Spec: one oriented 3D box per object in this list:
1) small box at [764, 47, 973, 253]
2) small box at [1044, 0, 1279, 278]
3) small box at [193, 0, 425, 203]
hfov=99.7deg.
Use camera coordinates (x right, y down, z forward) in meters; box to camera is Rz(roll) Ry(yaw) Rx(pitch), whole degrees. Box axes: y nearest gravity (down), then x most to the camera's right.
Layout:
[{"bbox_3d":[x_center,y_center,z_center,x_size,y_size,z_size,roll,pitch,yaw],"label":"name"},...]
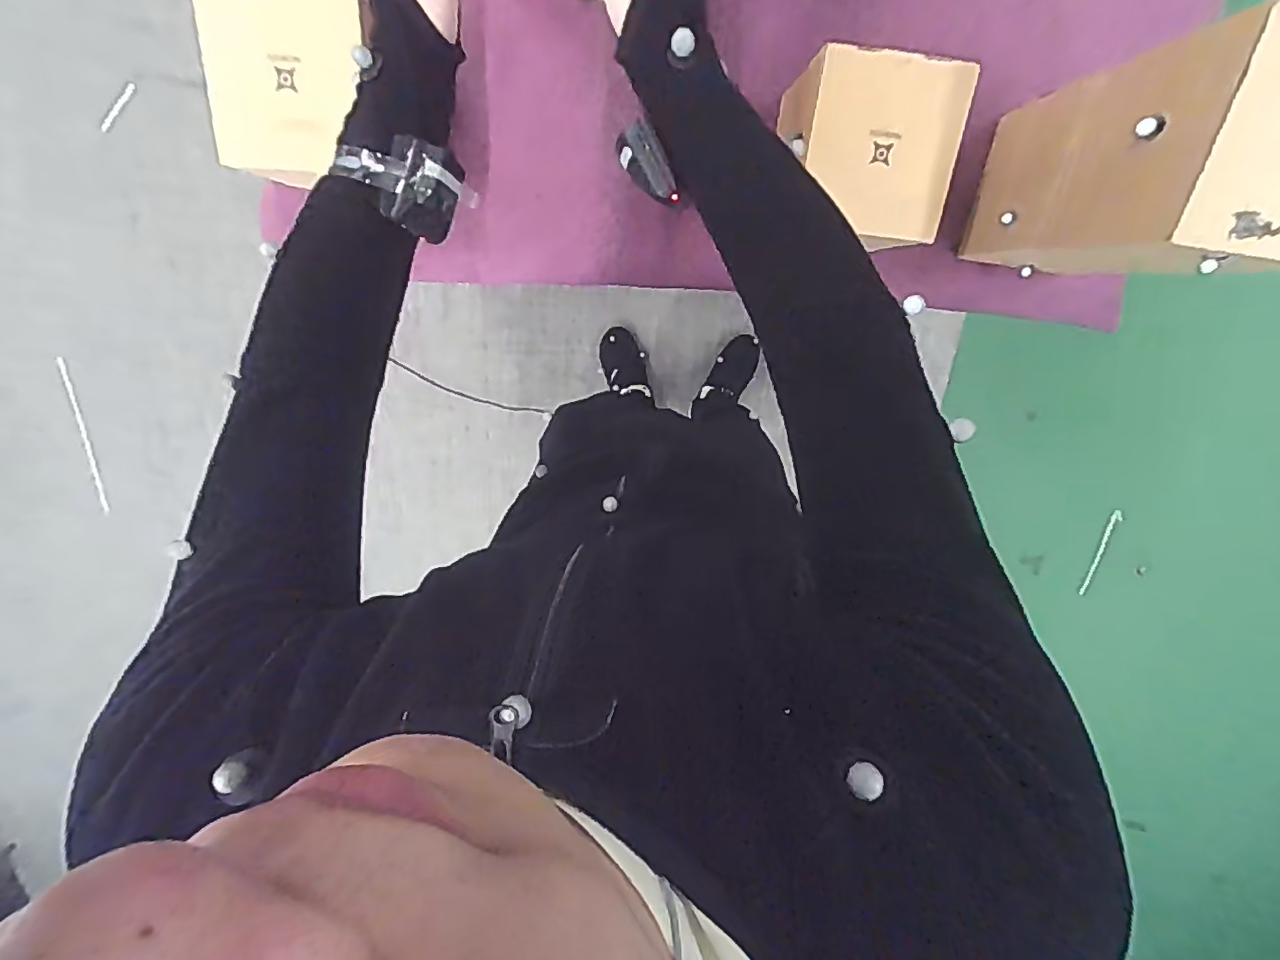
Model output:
[{"bbox_3d":[0.258,-0.383,0.662,0.168,0.176,0.179,5,108,-2],"label":"small box"},{"bbox_3d":[0.541,-0.299,0.517,0.168,0.176,0.179,8,109,-2],"label":"small box"},{"bbox_3d":[-0.365,-0.440,0.632,0.168,0.176,0.179,3,110,-2],"label":"small box"}]
